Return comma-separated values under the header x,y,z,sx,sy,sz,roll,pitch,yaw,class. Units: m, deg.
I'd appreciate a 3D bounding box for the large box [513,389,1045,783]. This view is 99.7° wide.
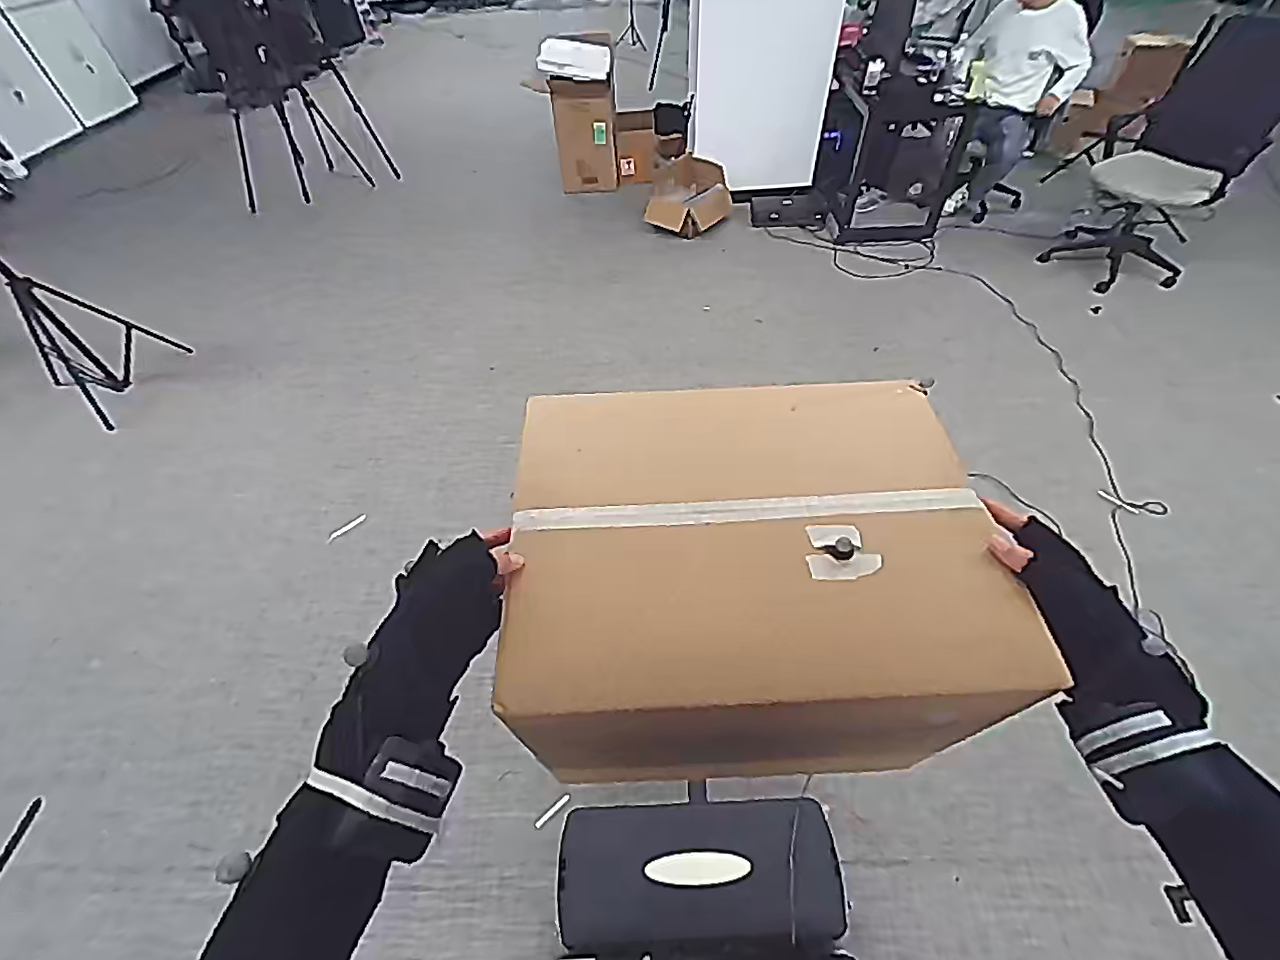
x,y,z,sx,sy,sz,roll,pitch,yaw,class
0.096,0.125,0.600,0.408,0.320,0.320,-3,53,-1,large box

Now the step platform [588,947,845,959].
x,y,z,sx,sy,sz,roll,pitch,yaw,class
0.116,1.143,1.086,0.684,0.204,0.286,-5,49,2,step platform
